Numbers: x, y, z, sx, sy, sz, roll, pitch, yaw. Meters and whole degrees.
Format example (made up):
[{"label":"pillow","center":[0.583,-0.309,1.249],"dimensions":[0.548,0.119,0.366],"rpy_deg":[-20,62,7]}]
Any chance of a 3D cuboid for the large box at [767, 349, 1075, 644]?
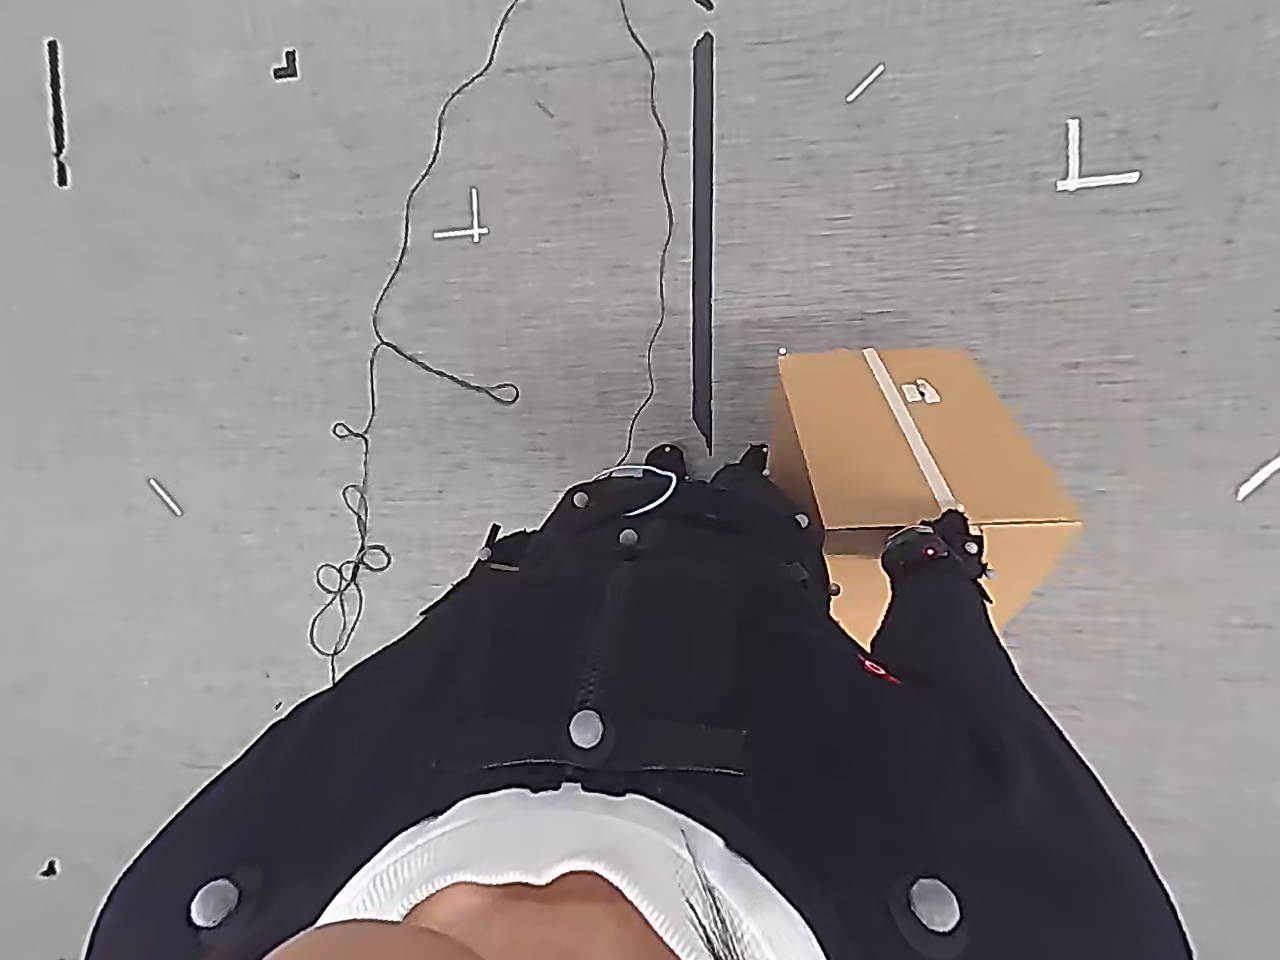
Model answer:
[{"label":"large box","center":[0.411,0.023,0.927],"dimensions":[0.320,0.408,0.320],"rpy_deg":[-3,134,4]}]
